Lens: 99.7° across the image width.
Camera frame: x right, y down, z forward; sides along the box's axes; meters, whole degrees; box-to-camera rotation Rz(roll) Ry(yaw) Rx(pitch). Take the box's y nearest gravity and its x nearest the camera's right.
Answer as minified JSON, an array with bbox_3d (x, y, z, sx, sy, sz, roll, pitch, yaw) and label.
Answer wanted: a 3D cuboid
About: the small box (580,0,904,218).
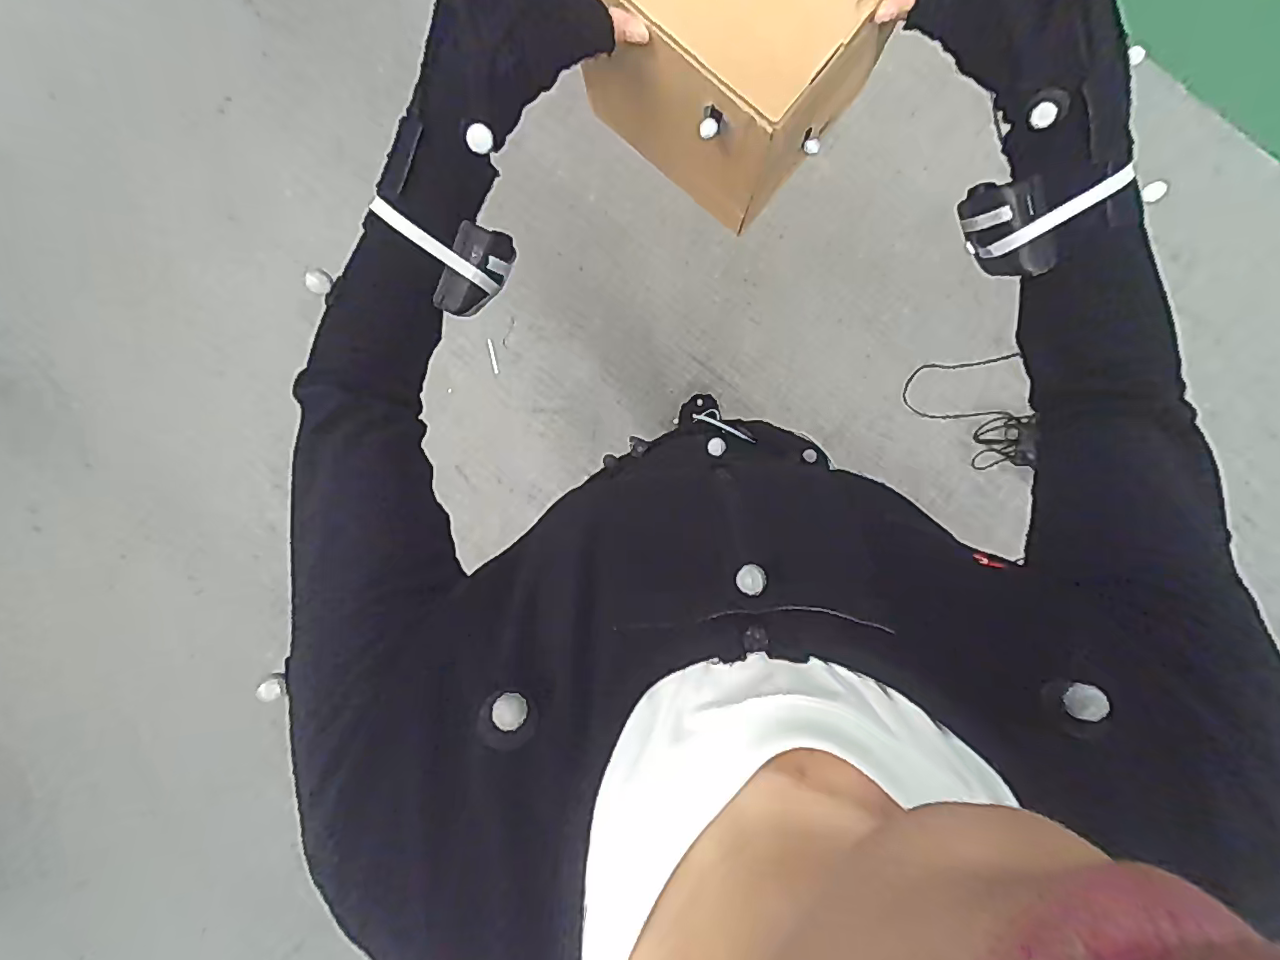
[{"bbox_3d":[0.069,-0.333,0.395,0.179,0.176,0.168,40,95,-1],"label":"small box"}]
